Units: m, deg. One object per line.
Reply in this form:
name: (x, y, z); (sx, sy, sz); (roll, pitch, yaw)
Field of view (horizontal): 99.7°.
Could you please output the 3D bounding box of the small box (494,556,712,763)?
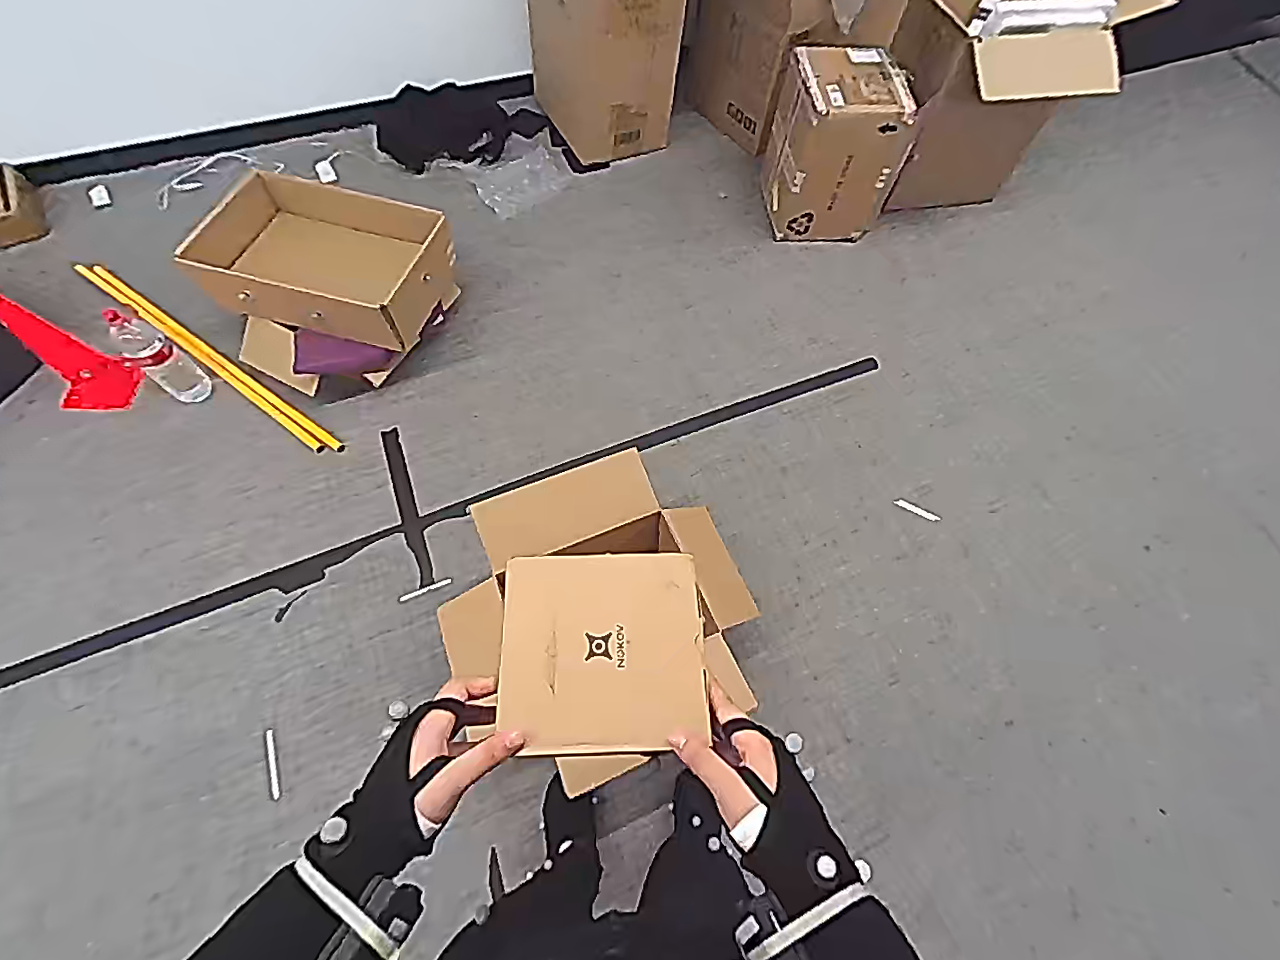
small box: (-0.035, 0.183, 0.535); (0.179, 0.176, 0.168); (-3, 61, -2)
